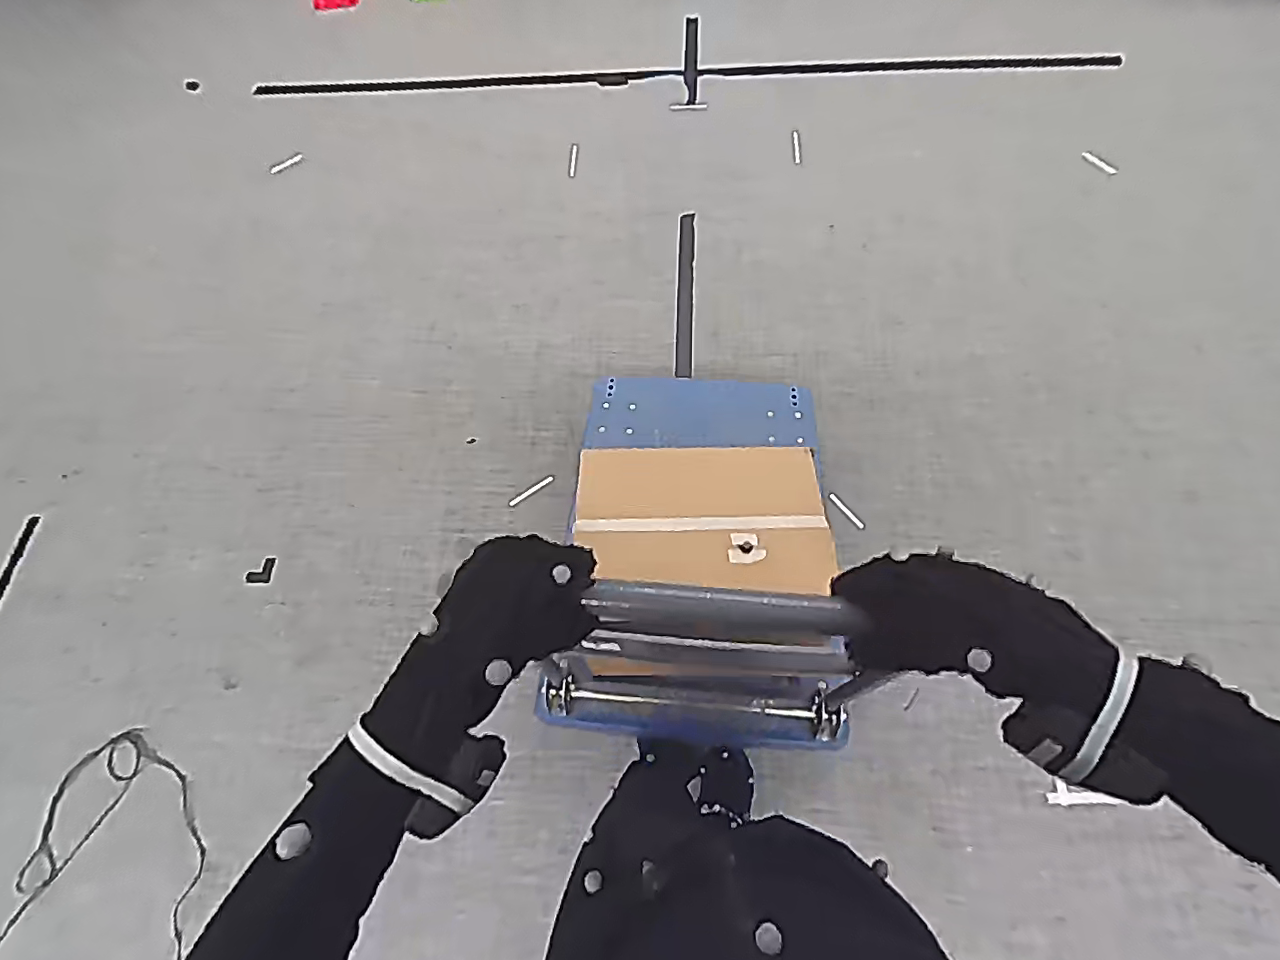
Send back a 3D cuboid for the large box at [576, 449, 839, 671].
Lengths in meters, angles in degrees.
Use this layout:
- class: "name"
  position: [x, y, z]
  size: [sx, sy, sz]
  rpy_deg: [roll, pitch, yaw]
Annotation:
- class: "large box"
  position: [0.098, 0.157, 1.010]
  size: [0.408, 0.320, 0.320]
  rpy_deg: [0, 56, 0]
